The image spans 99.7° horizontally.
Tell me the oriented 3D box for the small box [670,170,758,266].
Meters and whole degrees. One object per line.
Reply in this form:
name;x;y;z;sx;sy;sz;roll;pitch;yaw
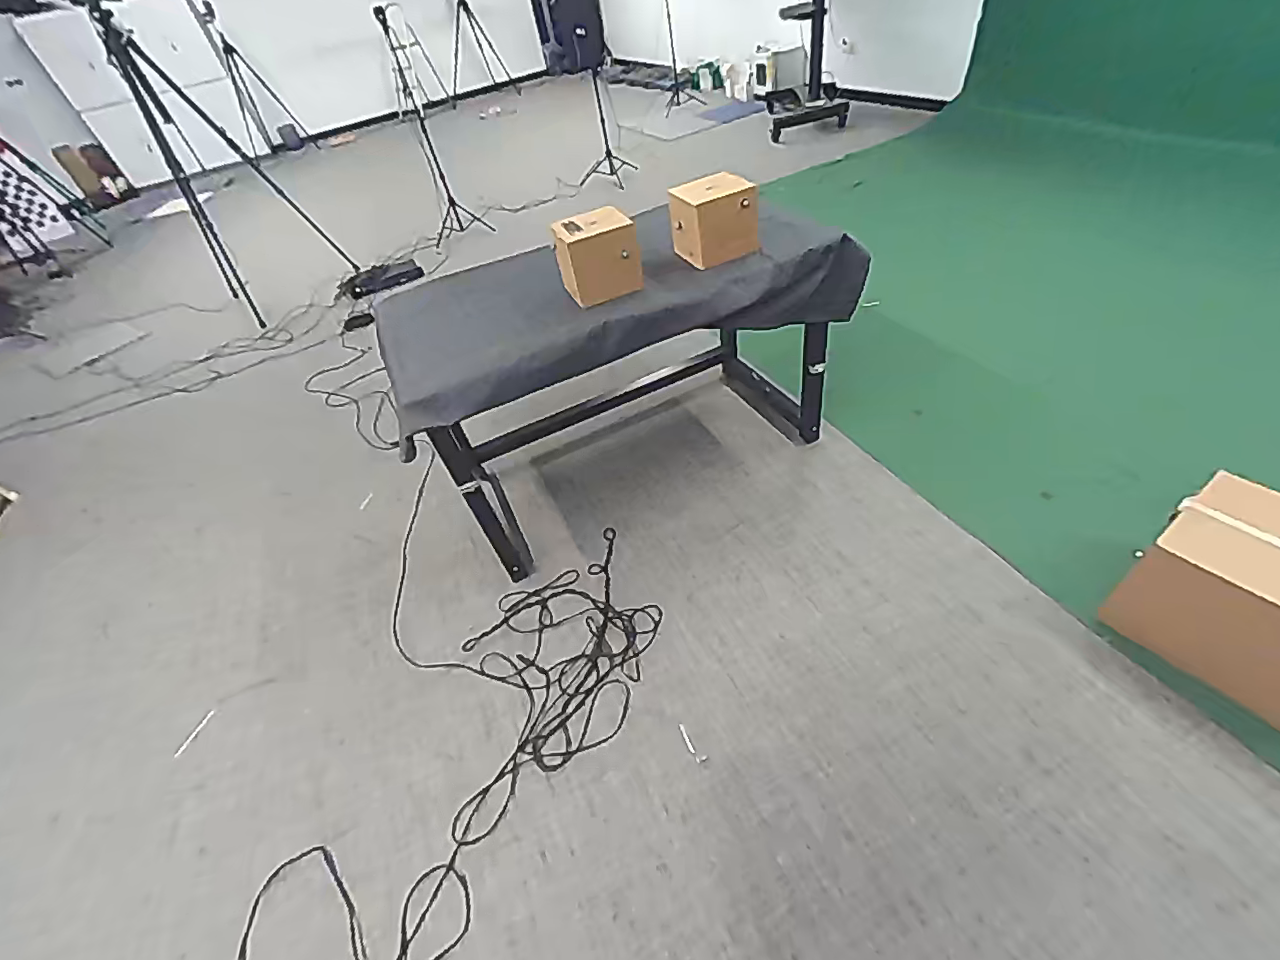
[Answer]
small box;0.199;-0.688;1.424;0.179;0.176;0.168;-23;45;-10
